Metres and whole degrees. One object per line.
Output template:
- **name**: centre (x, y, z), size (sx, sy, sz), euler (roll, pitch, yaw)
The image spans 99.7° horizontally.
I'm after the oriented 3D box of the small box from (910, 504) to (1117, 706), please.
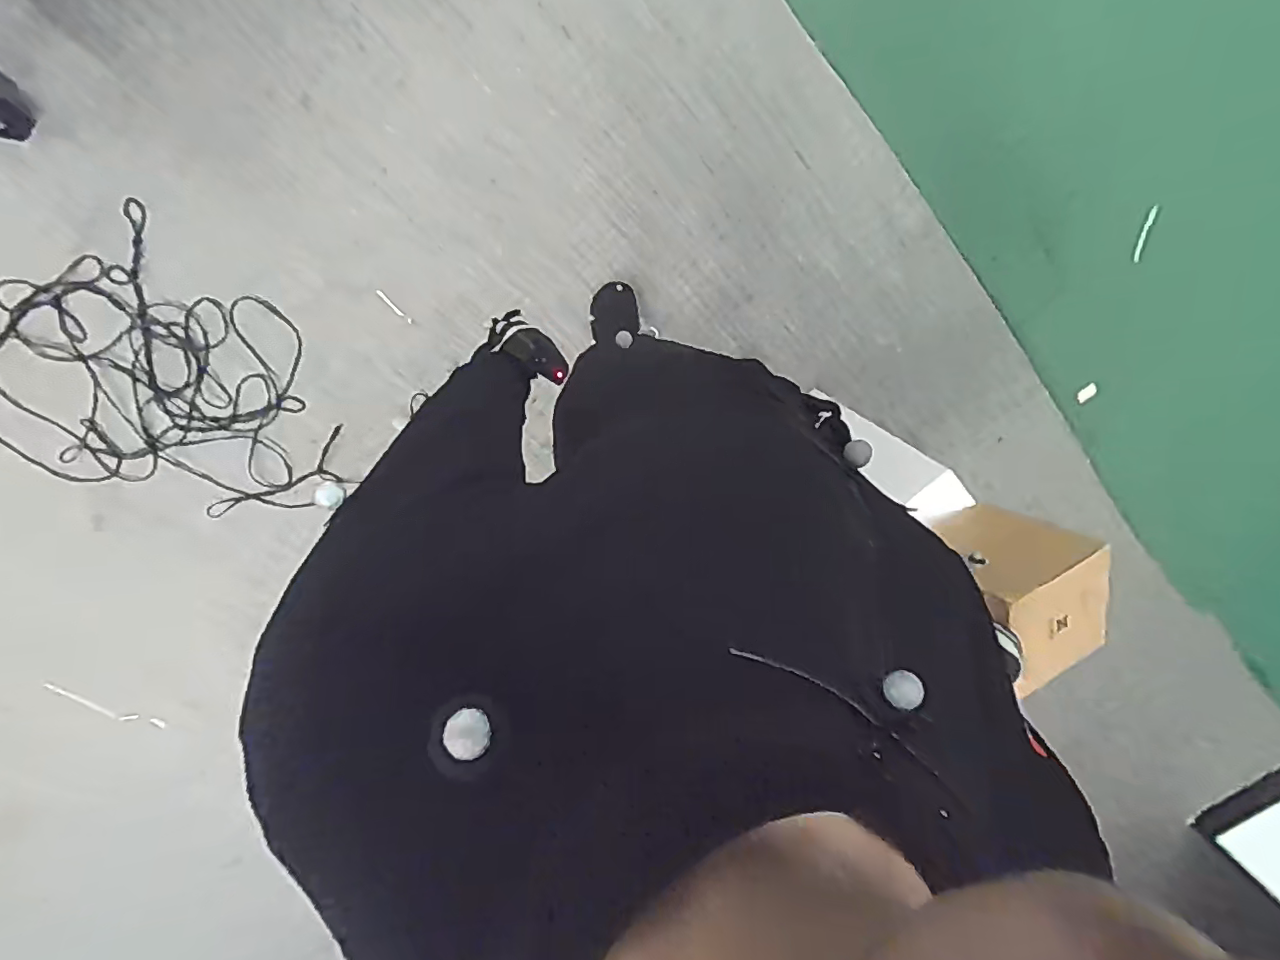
- **small box**: centre (0.488, 0.155, 0.727), size (0.179, 0.176, 0.168), euler (-25, 114, -15)
